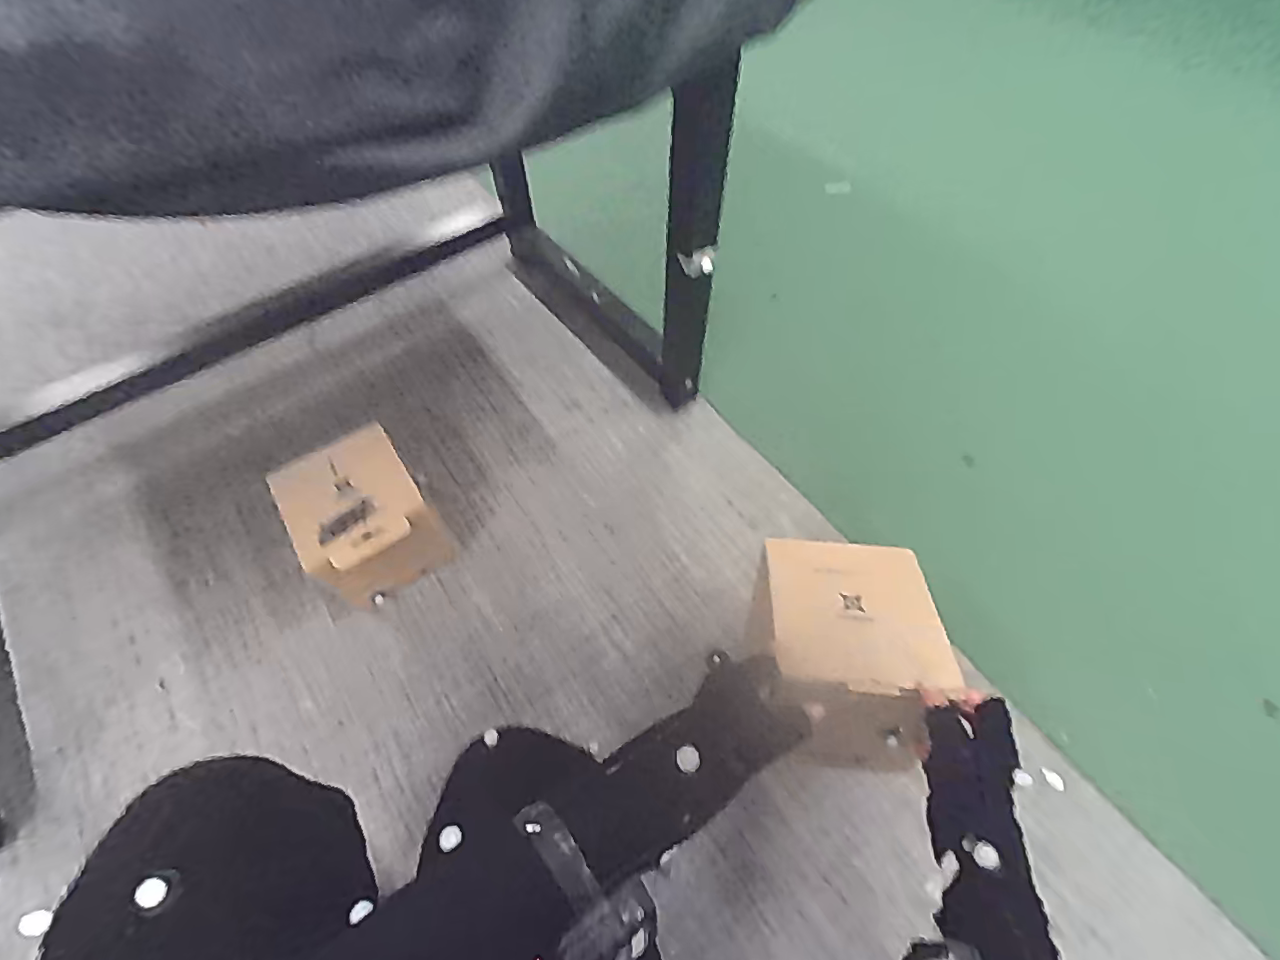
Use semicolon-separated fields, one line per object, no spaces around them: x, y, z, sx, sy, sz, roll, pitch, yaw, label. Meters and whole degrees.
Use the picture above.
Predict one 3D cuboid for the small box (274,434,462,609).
-0.393;0.072;0.807;0.168;0.176;0.179;-32;63;-16;small box
